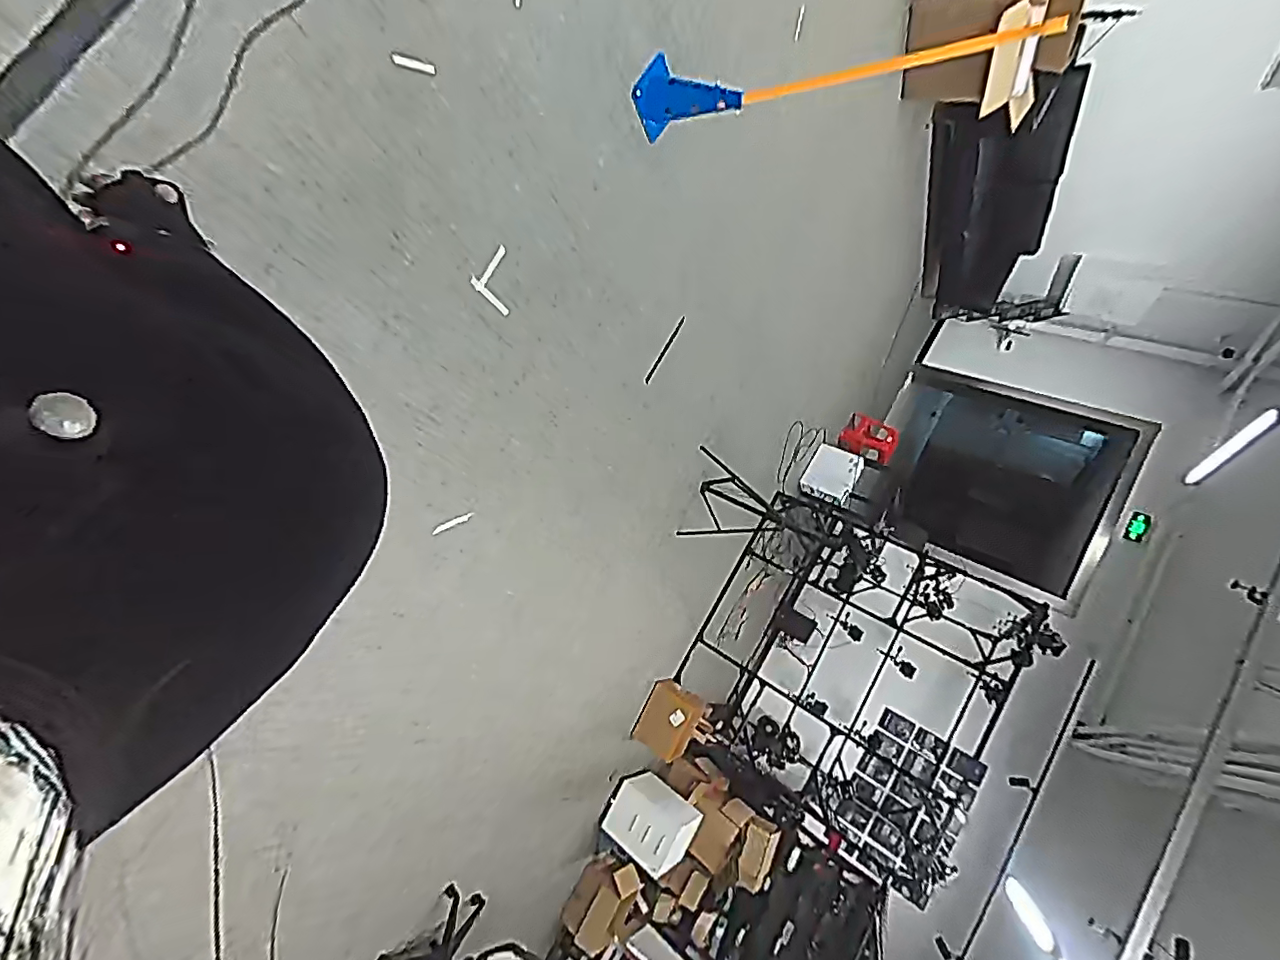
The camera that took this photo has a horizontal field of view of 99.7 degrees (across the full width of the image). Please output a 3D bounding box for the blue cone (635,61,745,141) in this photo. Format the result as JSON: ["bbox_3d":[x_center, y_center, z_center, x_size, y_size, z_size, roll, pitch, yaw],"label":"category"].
[{"bbox_3d":[0.187,-1.266,1.812,0.192,0.380,0.193,-57,148,-11],"label":"blue cone"}]
